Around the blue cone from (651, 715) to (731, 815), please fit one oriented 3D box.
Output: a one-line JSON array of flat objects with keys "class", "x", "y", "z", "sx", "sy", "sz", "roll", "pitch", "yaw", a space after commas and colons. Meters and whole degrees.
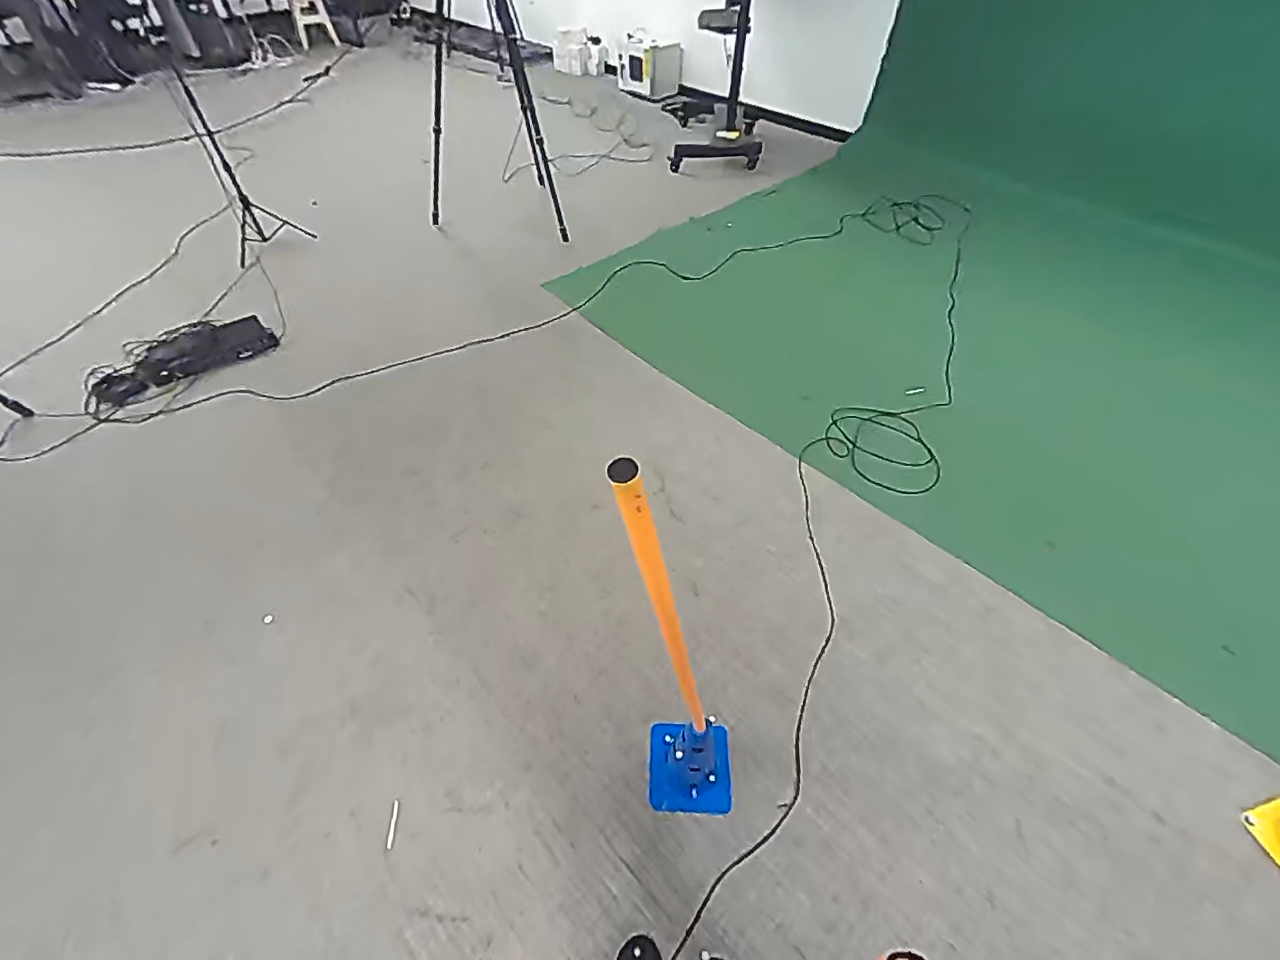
[{"class": "blue cone", "x": 0.119, "y": 0.606, "z": 1.197, "sx": 0.193, "sy": 0.380, "sz": 0.192, "roll": -1, "pitch": 50, "yaw": 1}]
